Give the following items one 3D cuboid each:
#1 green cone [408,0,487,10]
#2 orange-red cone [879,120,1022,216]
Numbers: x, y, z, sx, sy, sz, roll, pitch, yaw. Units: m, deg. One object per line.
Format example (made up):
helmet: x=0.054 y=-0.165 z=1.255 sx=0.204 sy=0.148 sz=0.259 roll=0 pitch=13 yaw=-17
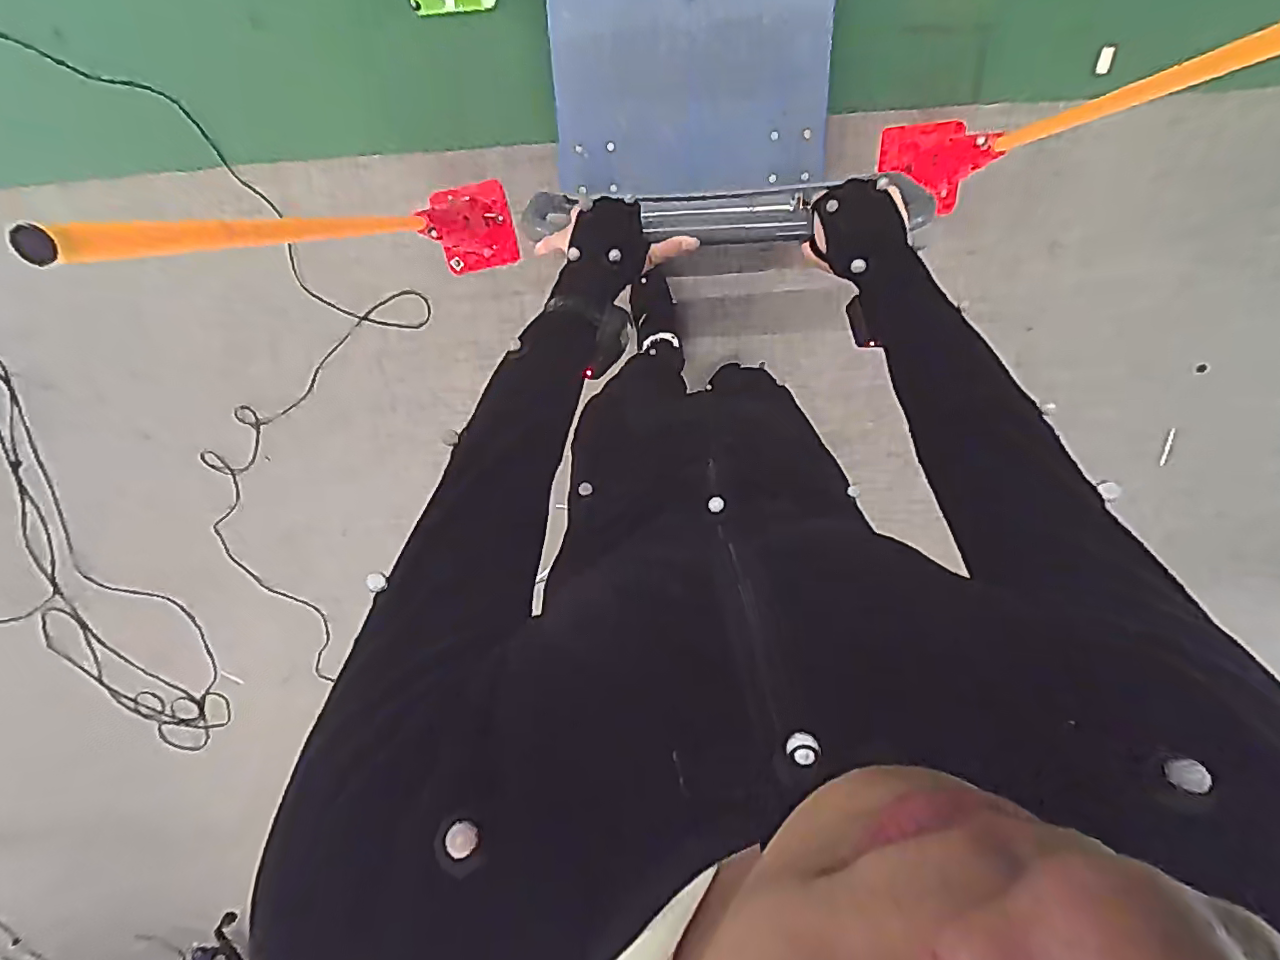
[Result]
green cone: x=-0.438 y=-1.087 z=1.014 sx=0.200 sy=0.368 sz=0.202 roll=-2 pitch=112 yaw=4
orange-red cone: x=0.674 y=-0.682 z=1.135 sx=0.198 sy=0.360 sz=0.199 roll=-2 pitch=111 yaw=3
